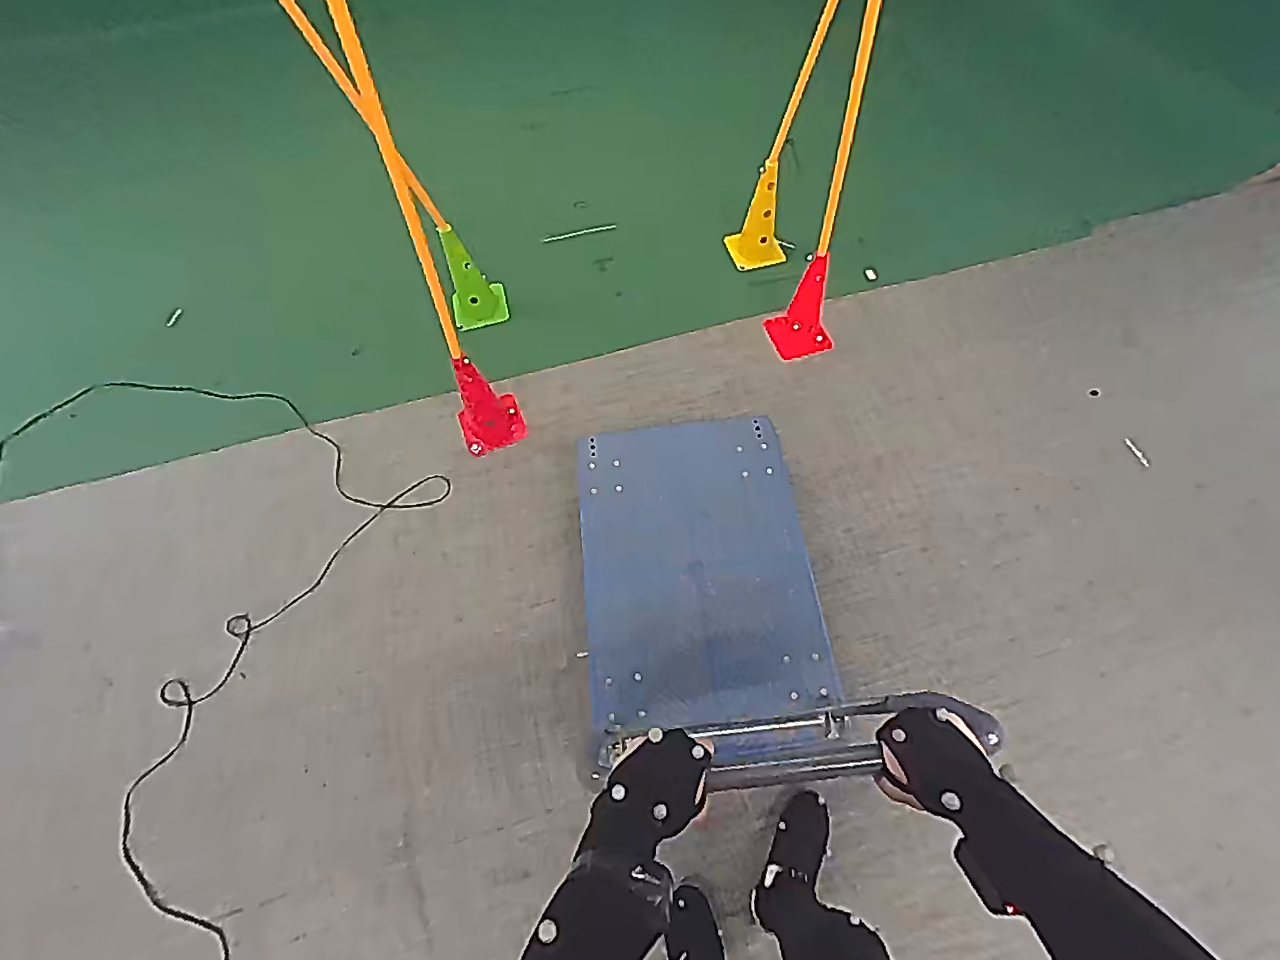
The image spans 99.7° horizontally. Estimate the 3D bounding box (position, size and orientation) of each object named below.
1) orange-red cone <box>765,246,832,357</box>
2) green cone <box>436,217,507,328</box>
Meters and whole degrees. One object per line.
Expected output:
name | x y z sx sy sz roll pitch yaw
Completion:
orange-red cone | 0.554 -0.607 1.774 0.198 0.360 0.199 -14 61 -6
green cone | -0.621 -0.747 1.897 0.200 0.368 0.202 -15 62 -4
